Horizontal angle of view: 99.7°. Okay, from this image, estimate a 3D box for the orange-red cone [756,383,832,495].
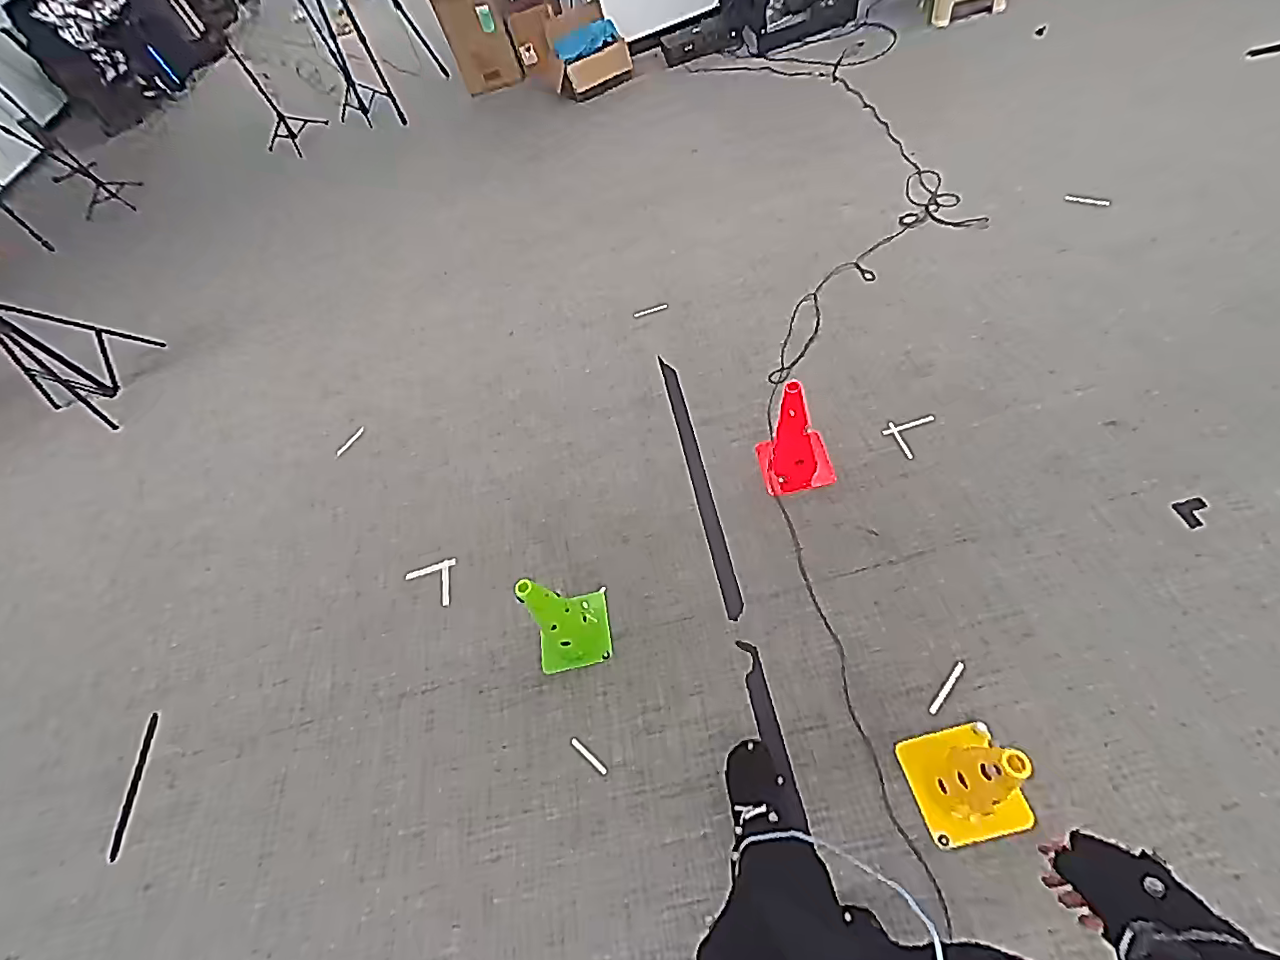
[{"bbox_3d":[0.422,-0.140,1.493,0.199,0.360,0.198,-12,57,8],"label":"orange-red cone"}]

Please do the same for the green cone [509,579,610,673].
[{"bbox_3d":[-0.230,0.332,1.372,0.202,0.368,0.200,-17,55,7],"label":"green cone"}]
